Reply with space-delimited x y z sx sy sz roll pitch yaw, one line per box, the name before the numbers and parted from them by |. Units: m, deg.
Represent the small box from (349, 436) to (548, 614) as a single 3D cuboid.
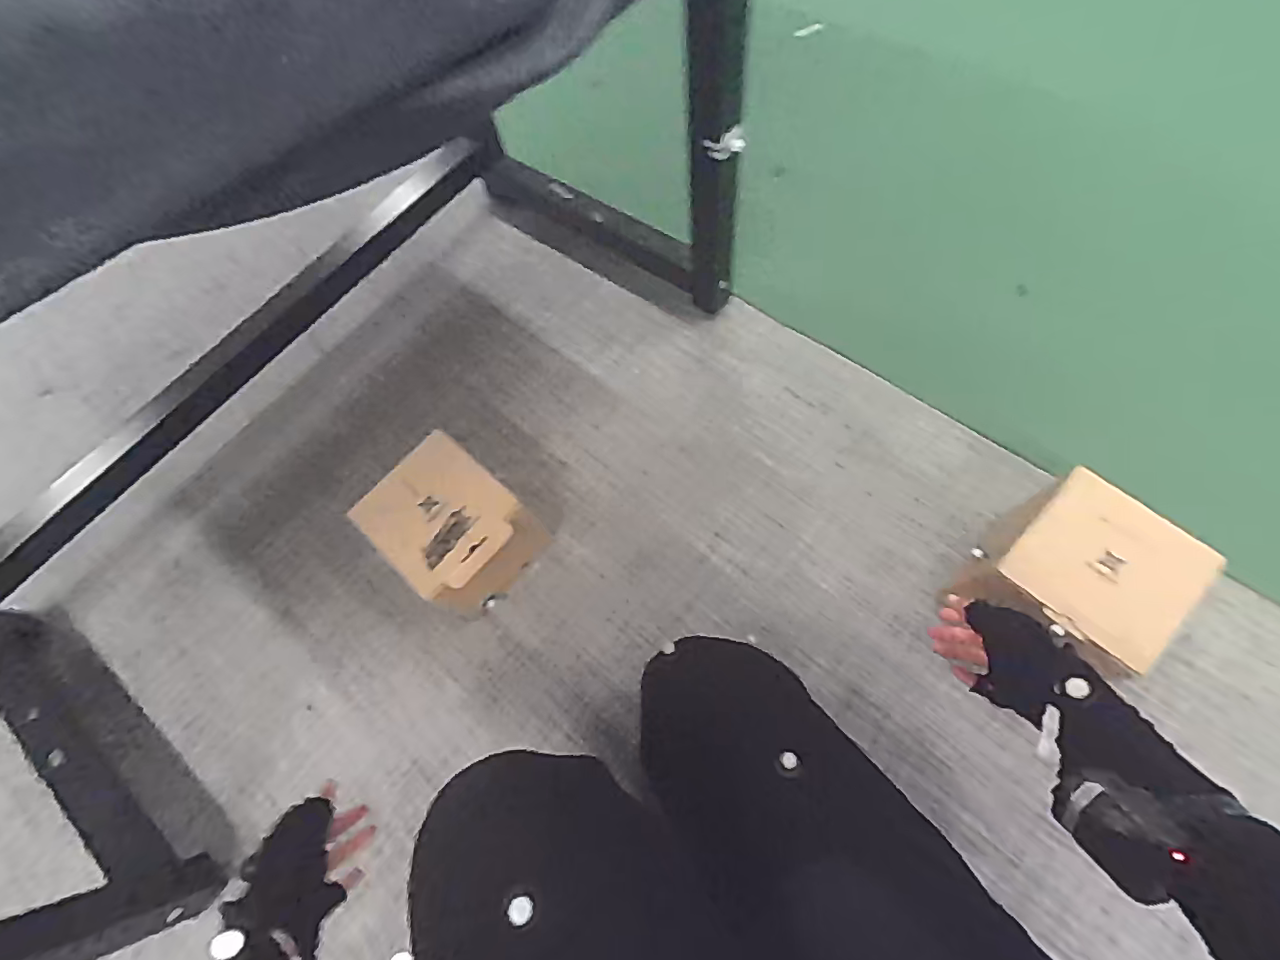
small box | -0.259 0.074 0.774 0.179 0.176 0.168 38 77 20
